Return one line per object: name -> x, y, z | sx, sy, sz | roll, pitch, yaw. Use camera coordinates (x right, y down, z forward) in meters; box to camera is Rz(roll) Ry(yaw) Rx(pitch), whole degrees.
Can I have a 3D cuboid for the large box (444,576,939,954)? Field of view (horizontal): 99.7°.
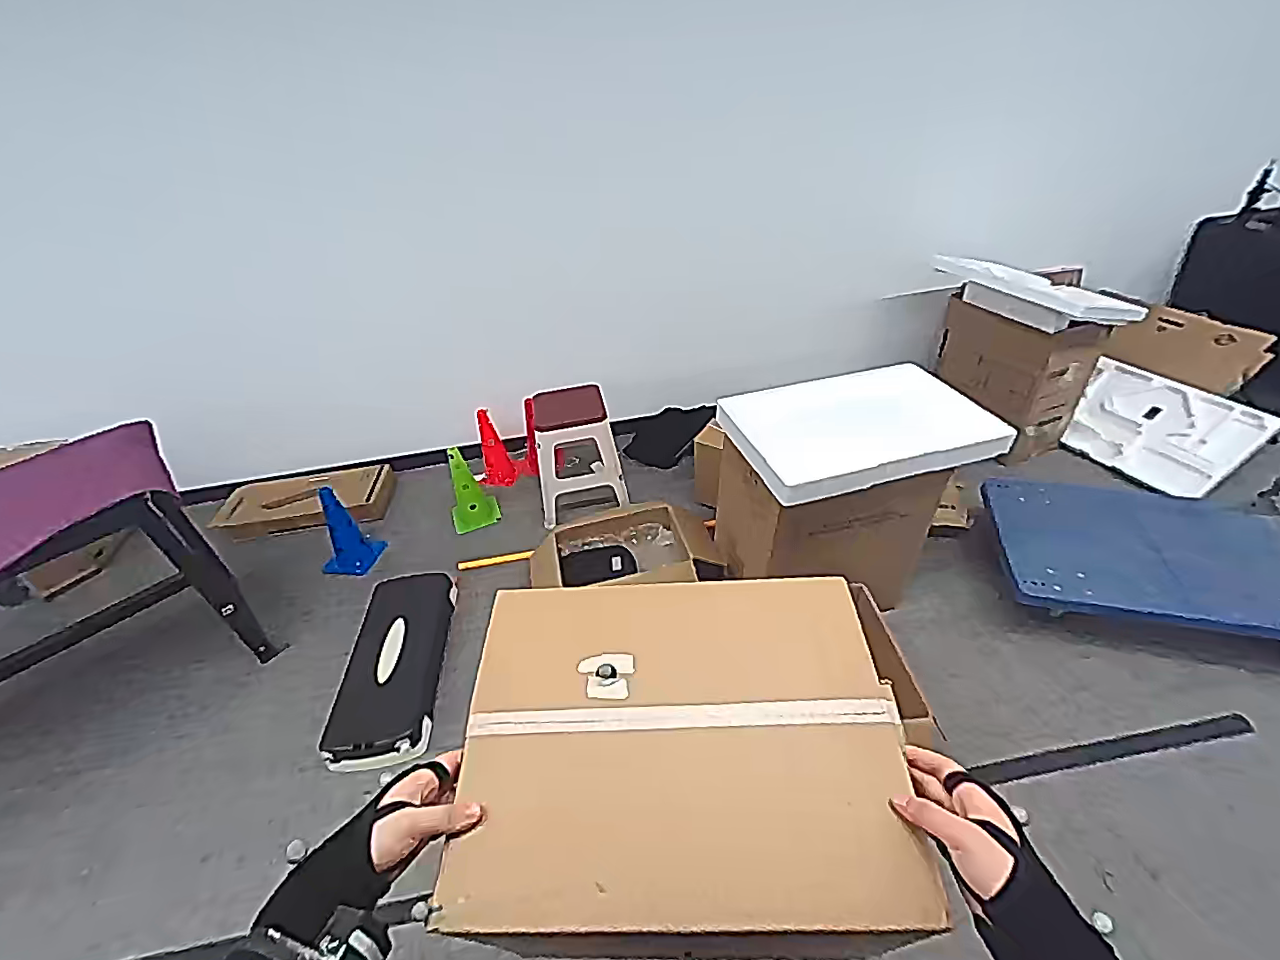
large box -> 0.051, 0.341, 0.637 | 0.408, 0.320, 0.320 | -5, 44, 4
